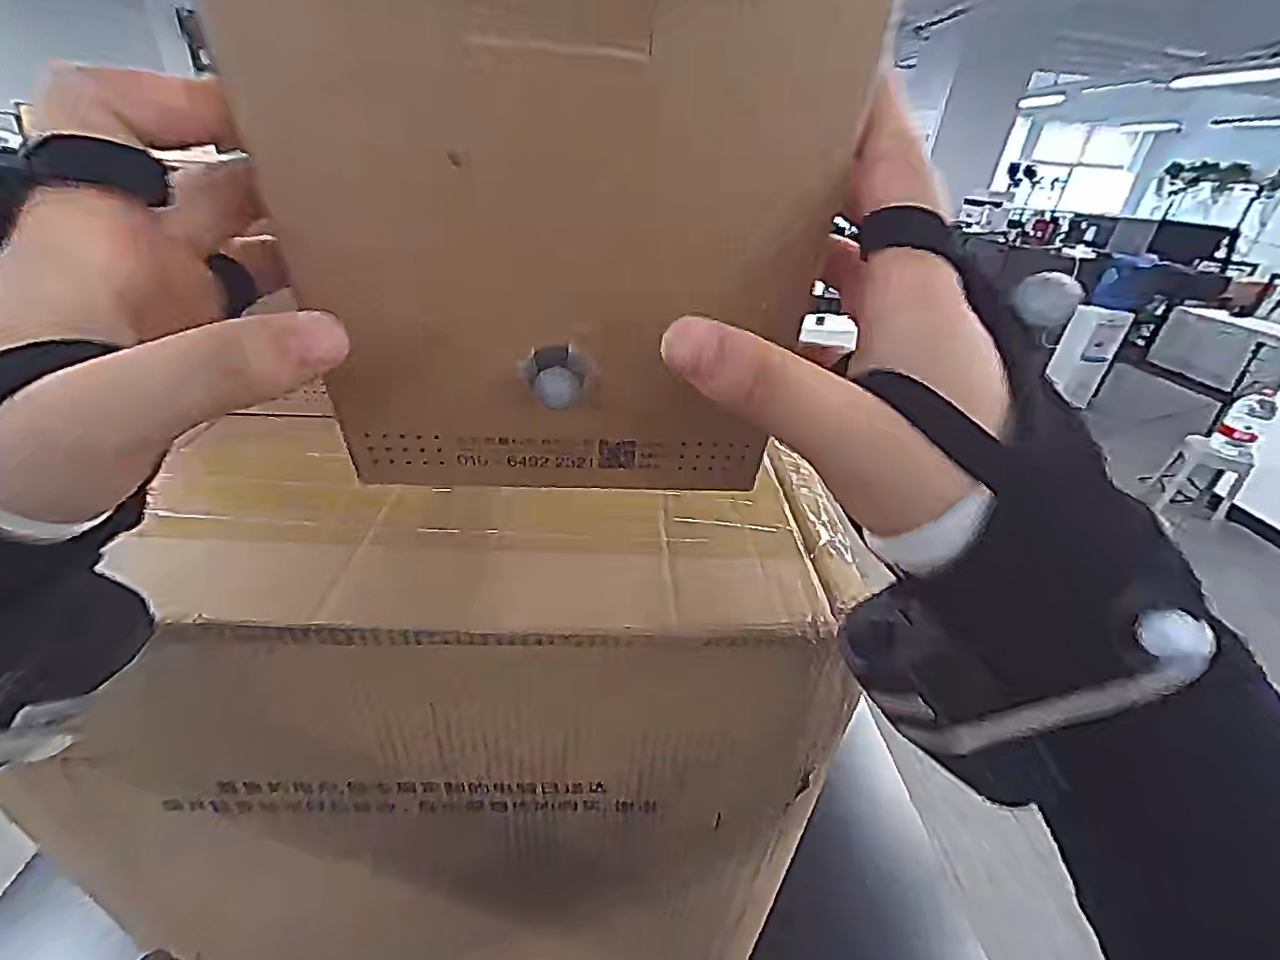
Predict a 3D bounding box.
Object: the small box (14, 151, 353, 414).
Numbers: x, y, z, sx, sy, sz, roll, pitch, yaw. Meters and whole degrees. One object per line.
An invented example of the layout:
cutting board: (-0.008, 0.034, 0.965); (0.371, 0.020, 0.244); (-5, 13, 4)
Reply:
small box: (-0.301, -0.160, 0.436); (0.168, 0.176, 0.179); (0, 30, -8)

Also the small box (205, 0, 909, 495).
small box: (-0.029, -0.115, 0.224); (0.168, 0.176, 0.179); (1, 43, -5)
